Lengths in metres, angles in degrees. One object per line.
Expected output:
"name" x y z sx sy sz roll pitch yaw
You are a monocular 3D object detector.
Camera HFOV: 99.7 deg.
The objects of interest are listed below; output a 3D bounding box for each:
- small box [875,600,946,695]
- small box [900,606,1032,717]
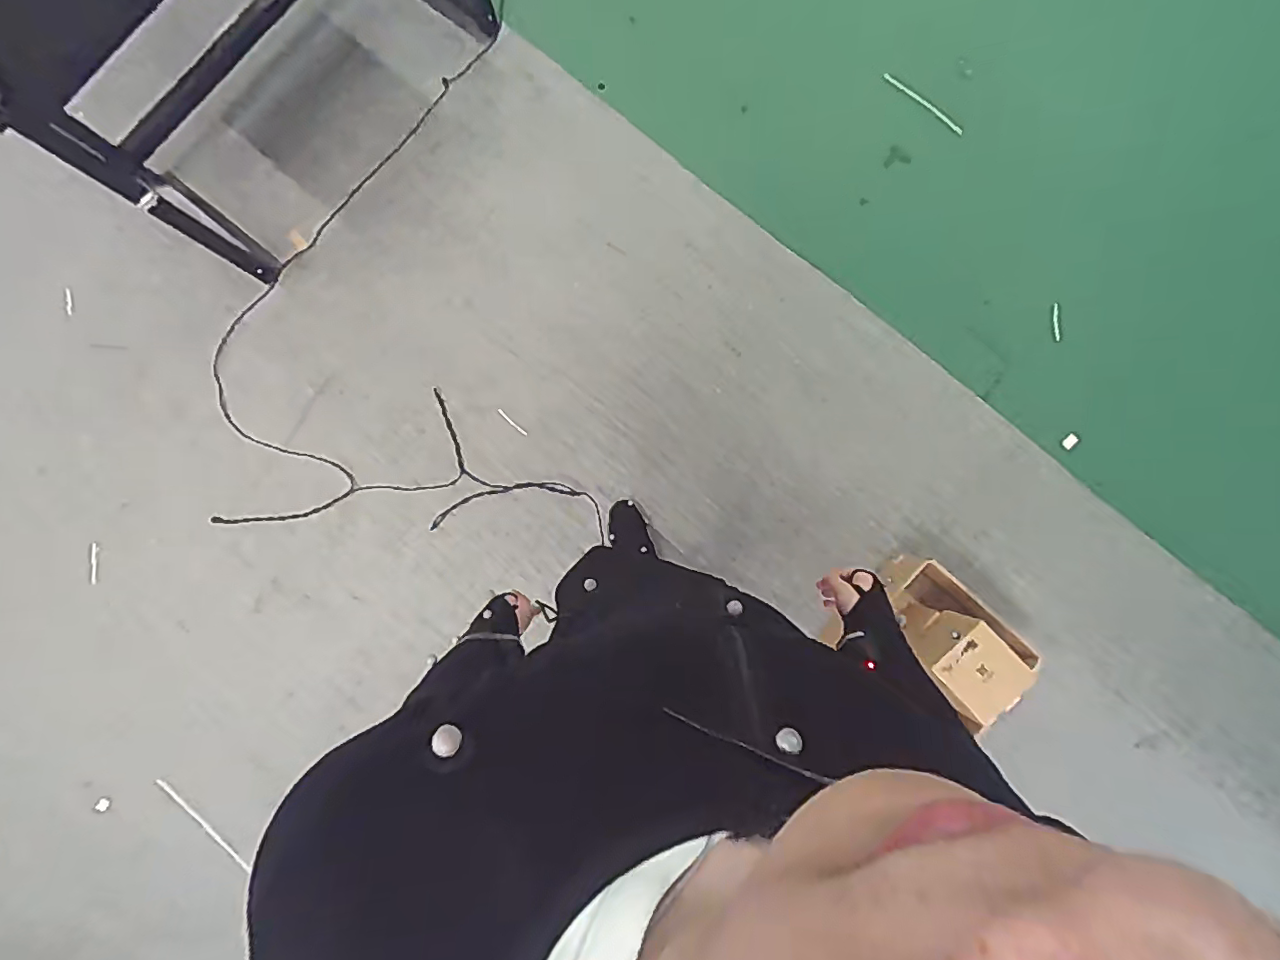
"small box" 0.781 0.445 1.474 0.179 0.176 0.168 41 89 5
"small box" 0.779 0.428 1.310 0.168 0.176 0.179 -42 86 -2
